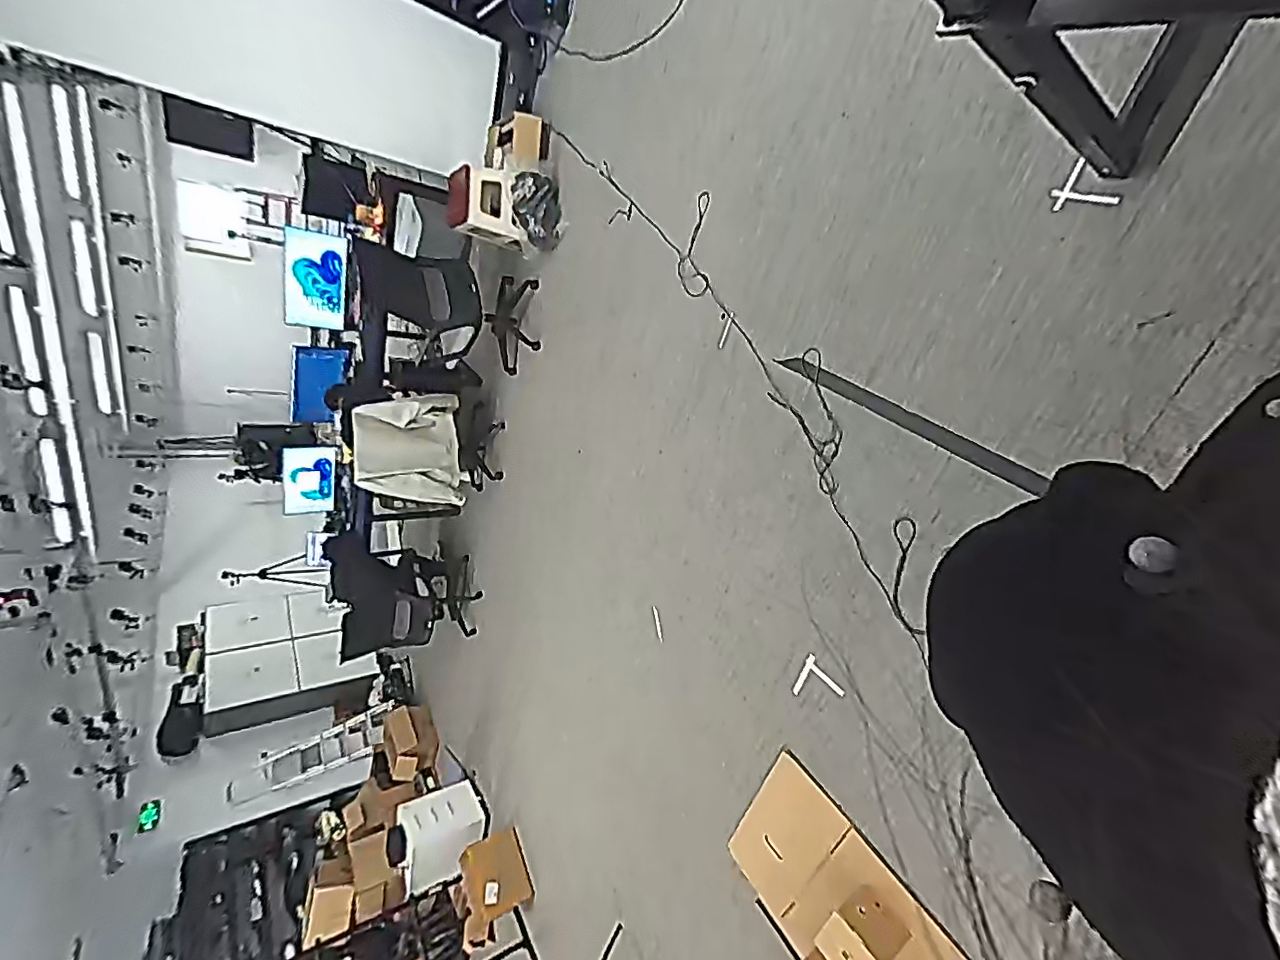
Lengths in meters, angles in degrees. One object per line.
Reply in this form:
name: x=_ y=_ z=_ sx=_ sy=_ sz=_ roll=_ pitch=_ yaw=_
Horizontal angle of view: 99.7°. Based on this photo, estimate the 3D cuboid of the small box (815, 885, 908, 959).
small box: x=0.661 y=1.363 z=1.607 sx=0.168 sy=0.176 sz=0.179 roll=40 pitch=124 yaw=44
